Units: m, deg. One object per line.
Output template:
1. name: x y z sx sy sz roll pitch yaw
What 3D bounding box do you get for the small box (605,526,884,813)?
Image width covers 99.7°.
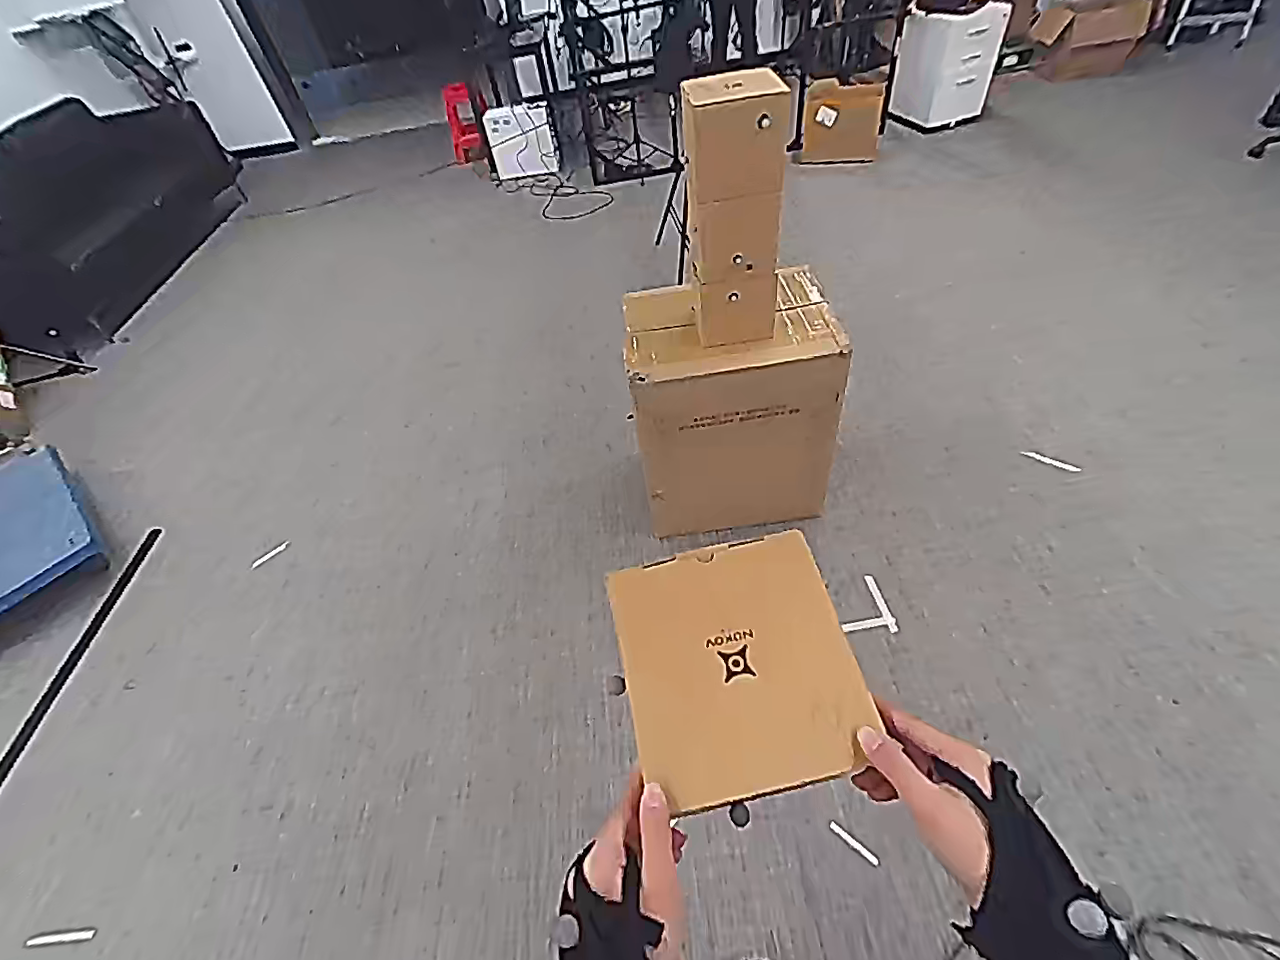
1. small box: 0.076 0.168 0.462 0.168 0.176 0.179 -14 56 -1

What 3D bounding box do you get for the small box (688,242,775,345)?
1. small box: 0.216 -0.441 1.294 0.179 0.176 0.168 -8 48 2

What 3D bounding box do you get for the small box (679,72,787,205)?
1. small box: 0.175 -0.663 1.055 0.179 0.176 0.168 -8 48 2
